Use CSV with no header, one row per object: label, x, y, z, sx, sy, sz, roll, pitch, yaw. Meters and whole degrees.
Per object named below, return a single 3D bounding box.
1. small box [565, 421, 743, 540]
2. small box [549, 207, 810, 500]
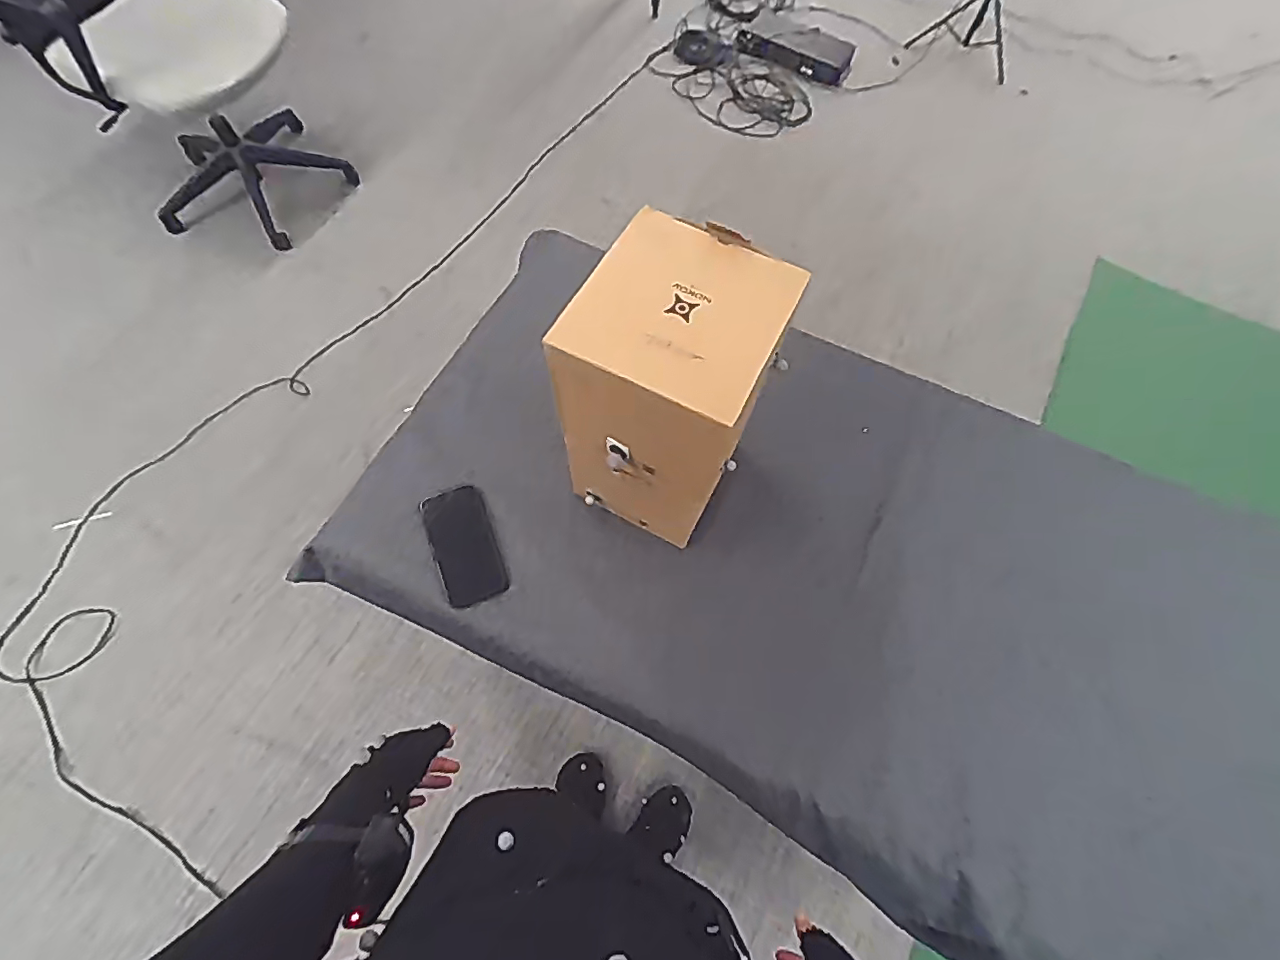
small box,0.027,-0.051,0.668,0.168,0.176,0.179,27,67,9
small box,0.033,-0.111,0.517,0.168,0.176,0.179,26,69,9
